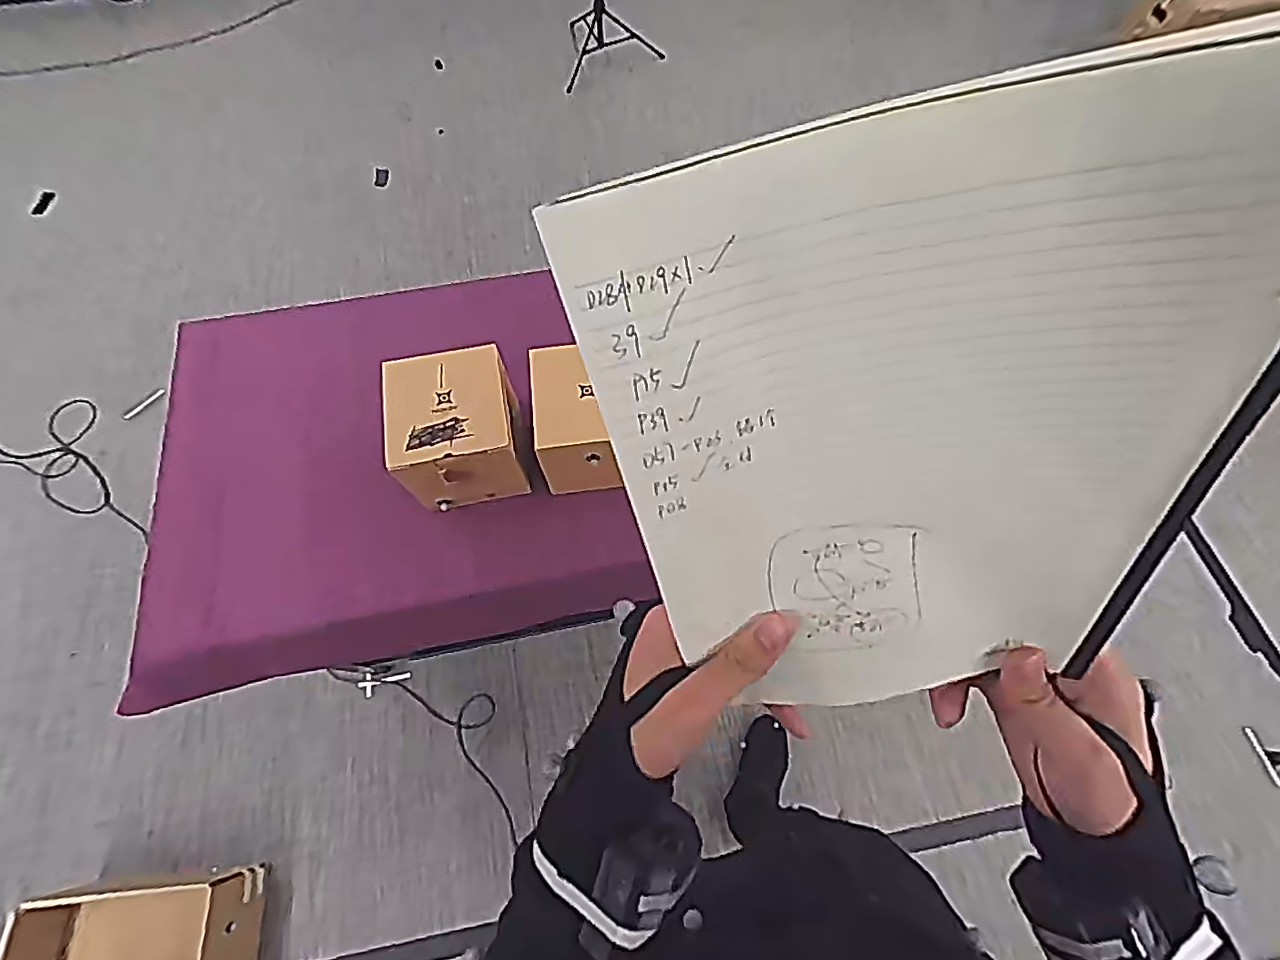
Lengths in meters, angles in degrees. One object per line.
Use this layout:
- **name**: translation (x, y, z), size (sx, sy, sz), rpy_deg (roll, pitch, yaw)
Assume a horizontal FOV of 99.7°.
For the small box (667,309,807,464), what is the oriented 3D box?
- **small box**: translation (0.140, -0.137, 0.852), size (0.168, 0.176, 0.179), rpy_deg (-9, 66, -5)
